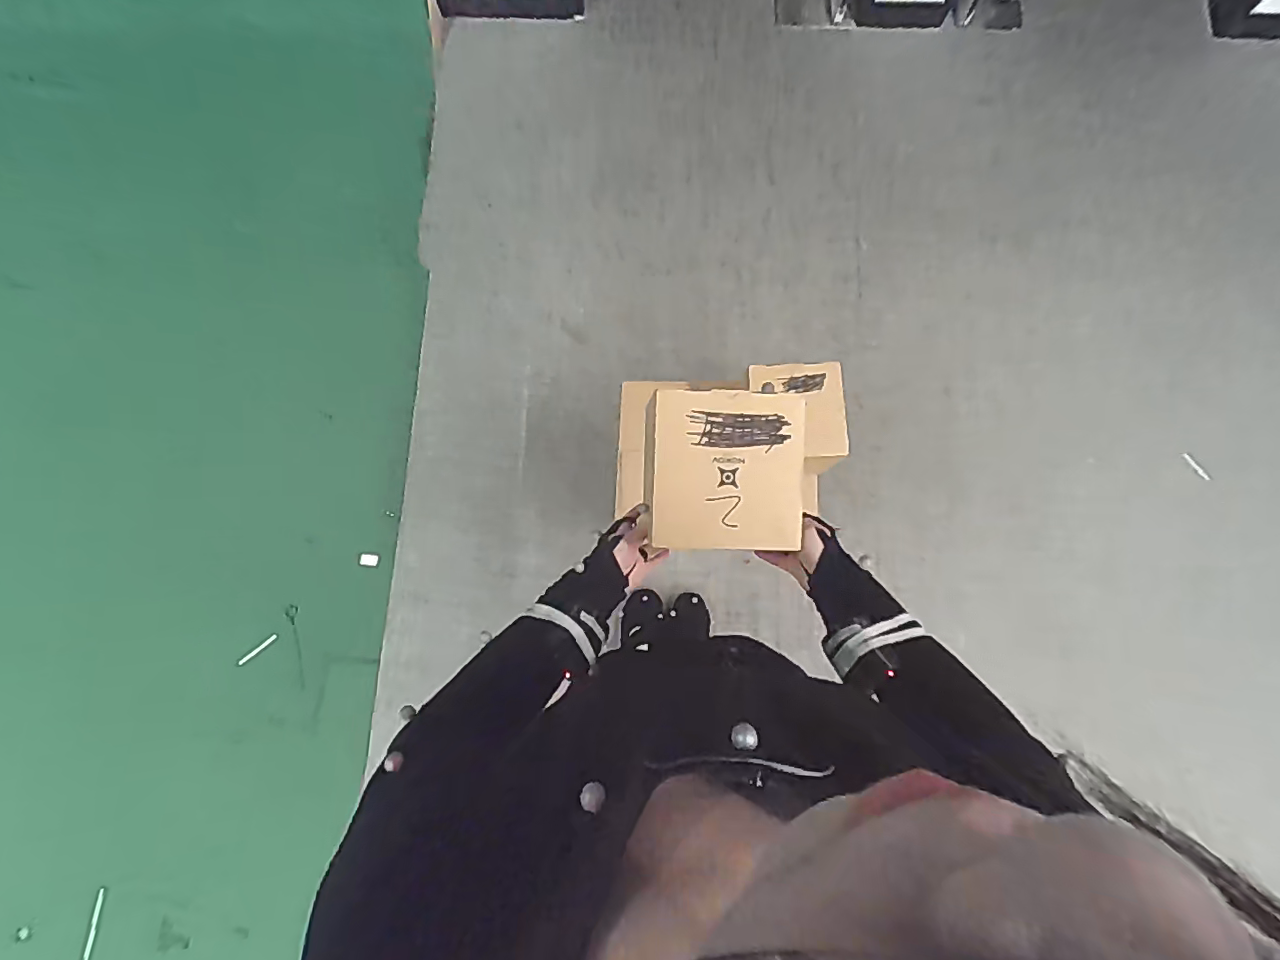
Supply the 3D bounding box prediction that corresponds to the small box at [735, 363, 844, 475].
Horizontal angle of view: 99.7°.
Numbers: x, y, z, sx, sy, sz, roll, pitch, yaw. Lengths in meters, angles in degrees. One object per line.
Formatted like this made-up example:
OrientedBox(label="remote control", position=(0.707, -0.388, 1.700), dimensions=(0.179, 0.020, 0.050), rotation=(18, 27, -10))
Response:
OrientedBox(label="small box", position=(0.277, -0.111, 1.040), dimensions=(0.168, 0.176, 0.179), rotation=(-2, 81, 2))
